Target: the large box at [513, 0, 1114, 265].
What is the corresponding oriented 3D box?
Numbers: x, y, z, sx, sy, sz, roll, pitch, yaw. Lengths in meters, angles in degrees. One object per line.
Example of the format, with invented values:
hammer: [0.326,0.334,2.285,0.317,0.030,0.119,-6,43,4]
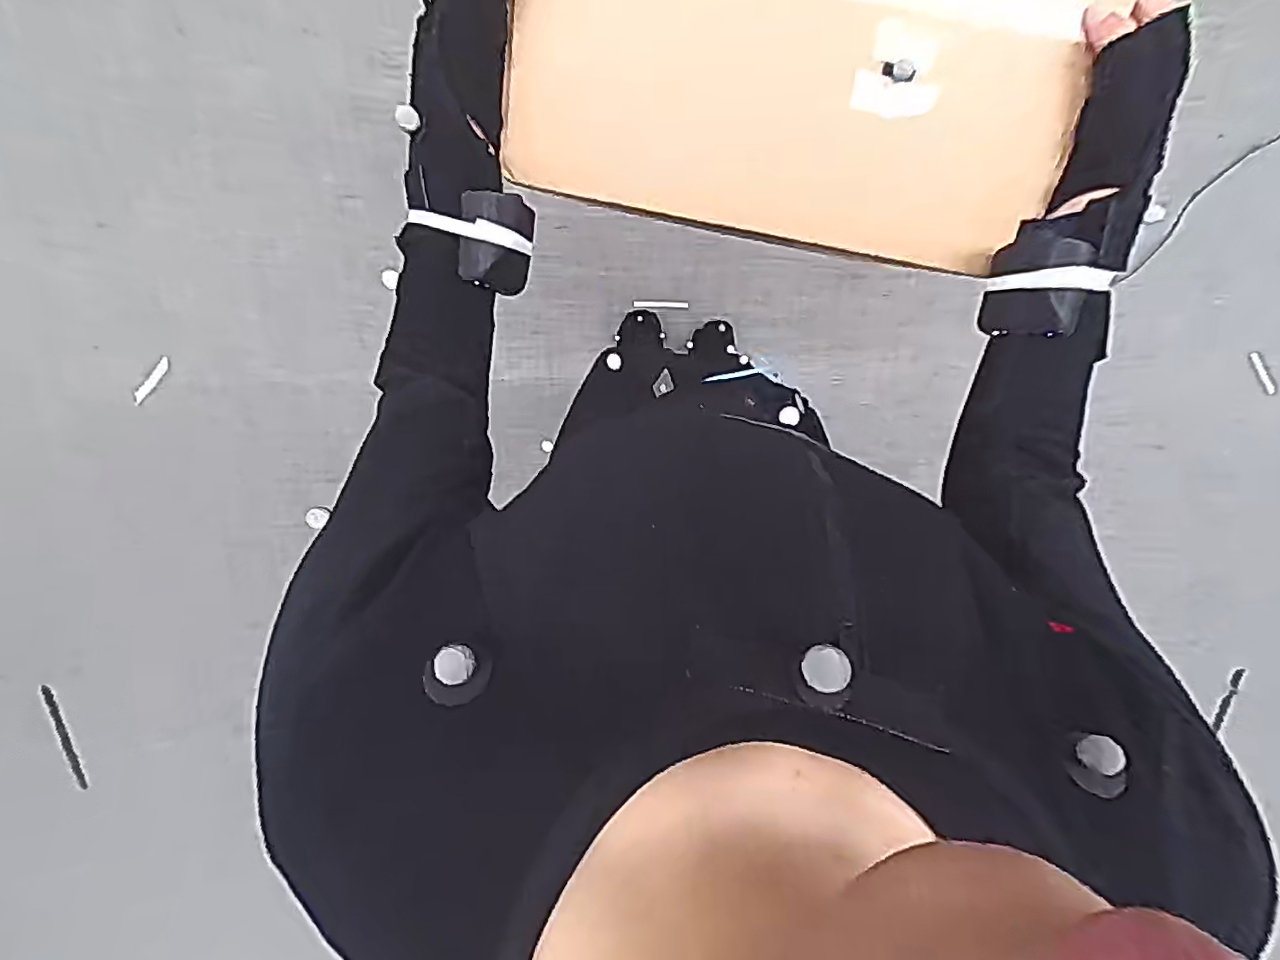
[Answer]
large box: [0.122,-0.402,0.497,0.408,0.320,0.320,10,116,-3]
